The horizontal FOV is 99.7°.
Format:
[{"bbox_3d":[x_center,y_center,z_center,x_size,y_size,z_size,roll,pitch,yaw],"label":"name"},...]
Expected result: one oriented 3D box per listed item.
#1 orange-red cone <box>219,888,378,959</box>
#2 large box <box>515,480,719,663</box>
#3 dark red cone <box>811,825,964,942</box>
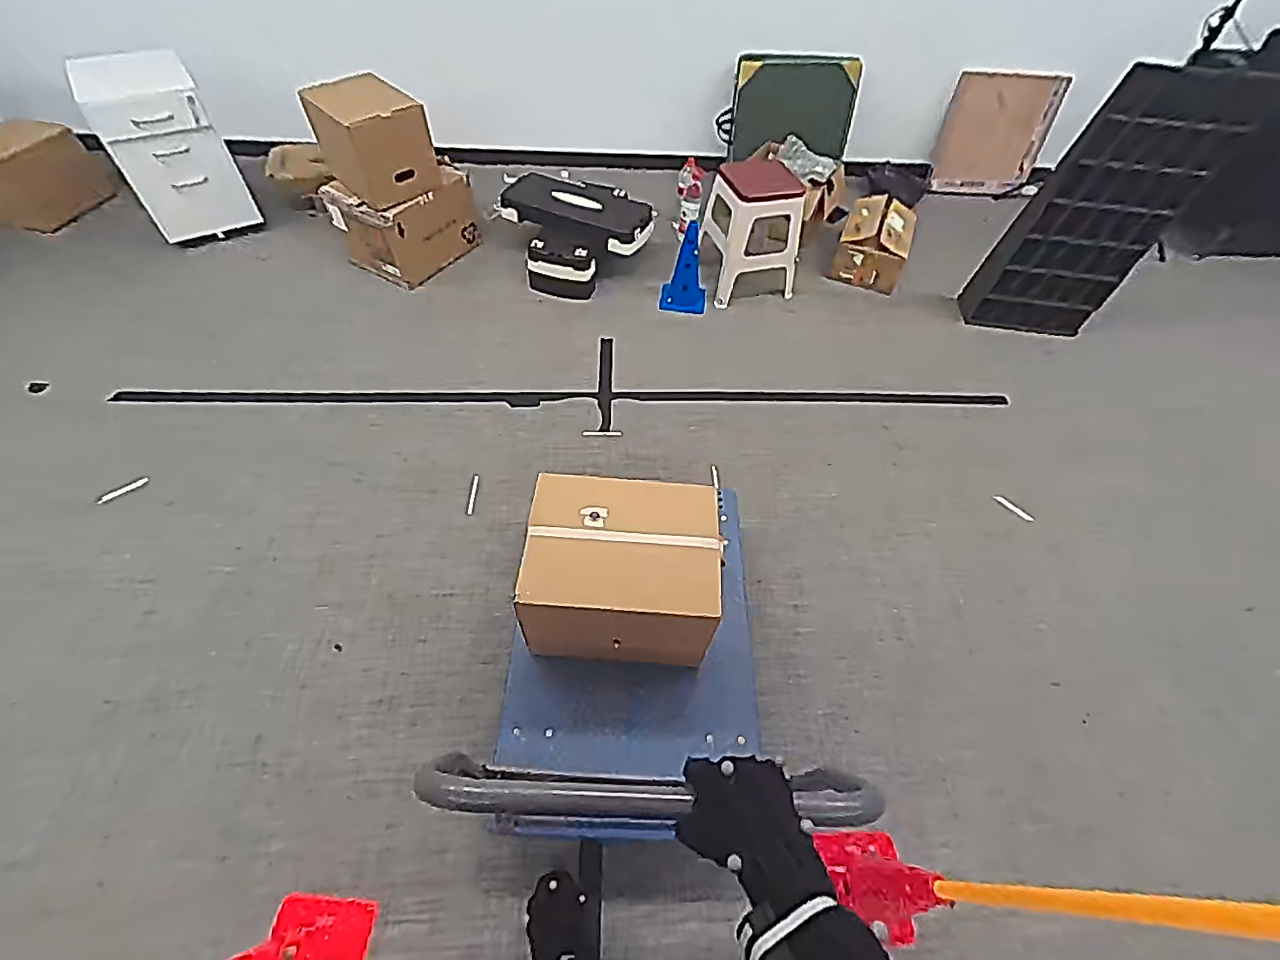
[{"bbox_3d":[-0.636,0.836,0.937,0.198,0.360,0.199,7,51,1],"label":"orange-red cone"},{"bbox_3d":[-0.041,0.220,1.254,0.408,0.320,0.320,4,54,0],"label":"large box"},{"bbox_3d":[0.492,0.764,1.032,0.201,0.394,0.202,2,53,-4],"label":"dark red cone"}]
